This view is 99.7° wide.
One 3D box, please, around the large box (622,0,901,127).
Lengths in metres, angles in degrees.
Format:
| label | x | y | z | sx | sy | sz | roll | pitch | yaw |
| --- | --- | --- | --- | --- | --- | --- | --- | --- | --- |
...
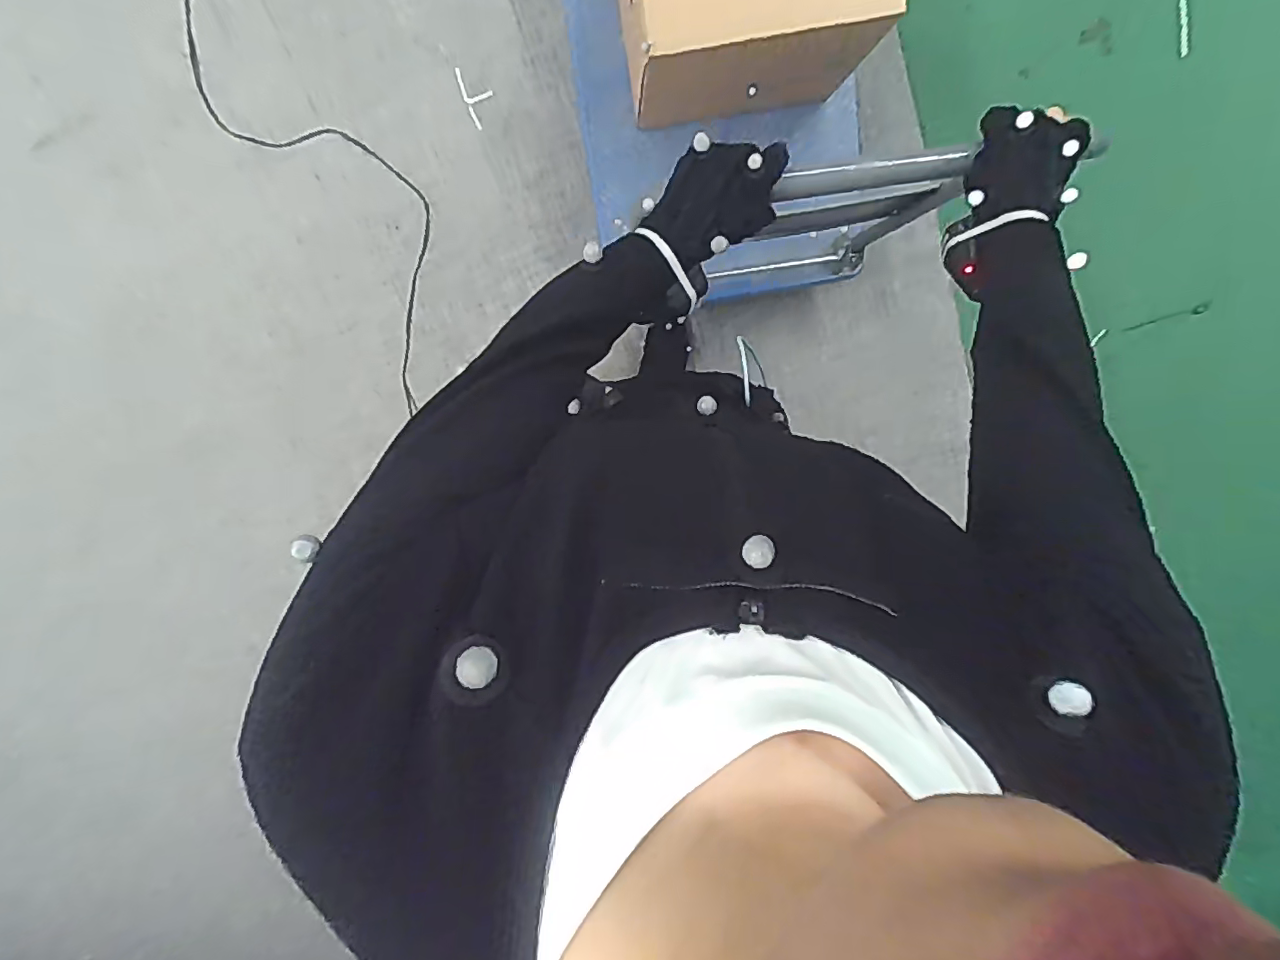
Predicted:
| label | x | y | z | sx | sy | sz | roll | pitch | yaw |
| --- | --- | --- | --- | --- | --- | --- | --- | --- | --- |
| large box | 0.179 | -0.870 | 0.941 | 0.408 | 0.320 | 0.320 | -10 | 105 | 1 |
